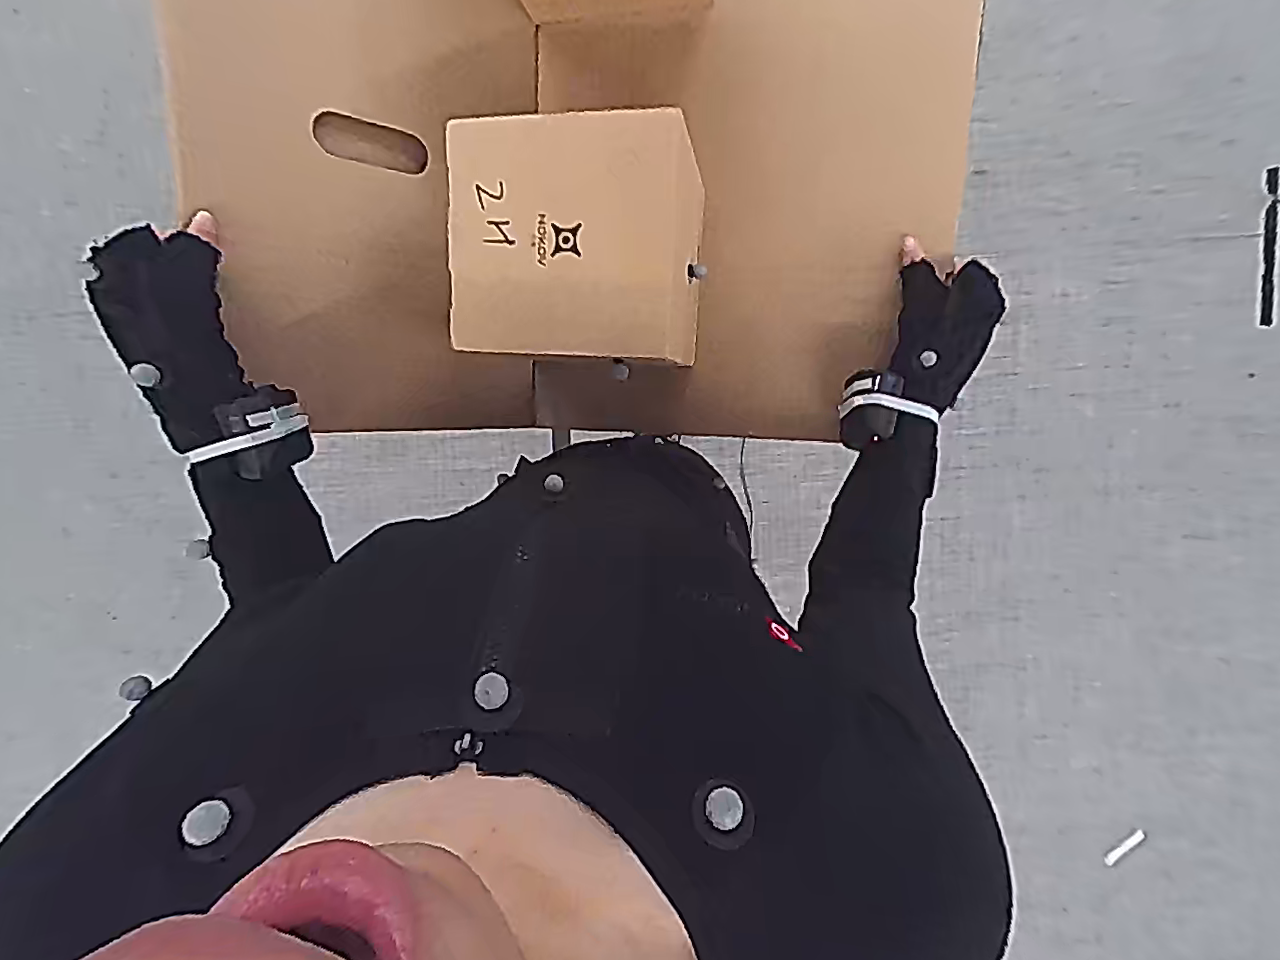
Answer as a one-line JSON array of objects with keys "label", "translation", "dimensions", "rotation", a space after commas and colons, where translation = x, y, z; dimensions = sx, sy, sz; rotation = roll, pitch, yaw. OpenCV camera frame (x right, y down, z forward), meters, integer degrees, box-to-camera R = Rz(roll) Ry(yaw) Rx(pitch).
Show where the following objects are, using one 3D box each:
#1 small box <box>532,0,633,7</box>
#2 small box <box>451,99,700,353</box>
[{"label": "small box", "translation": [-0.037, -0.518, 0.422], "dimensions": [0.179, 0.176, 0.168], "rotation": [3, 100, 11]}, {"label": "small box", "translation": [-0.044, -0.203, 0.477], "dimensions": [0.179, 0.176, 0.168], "rotation": [5, 101, 12]}]
